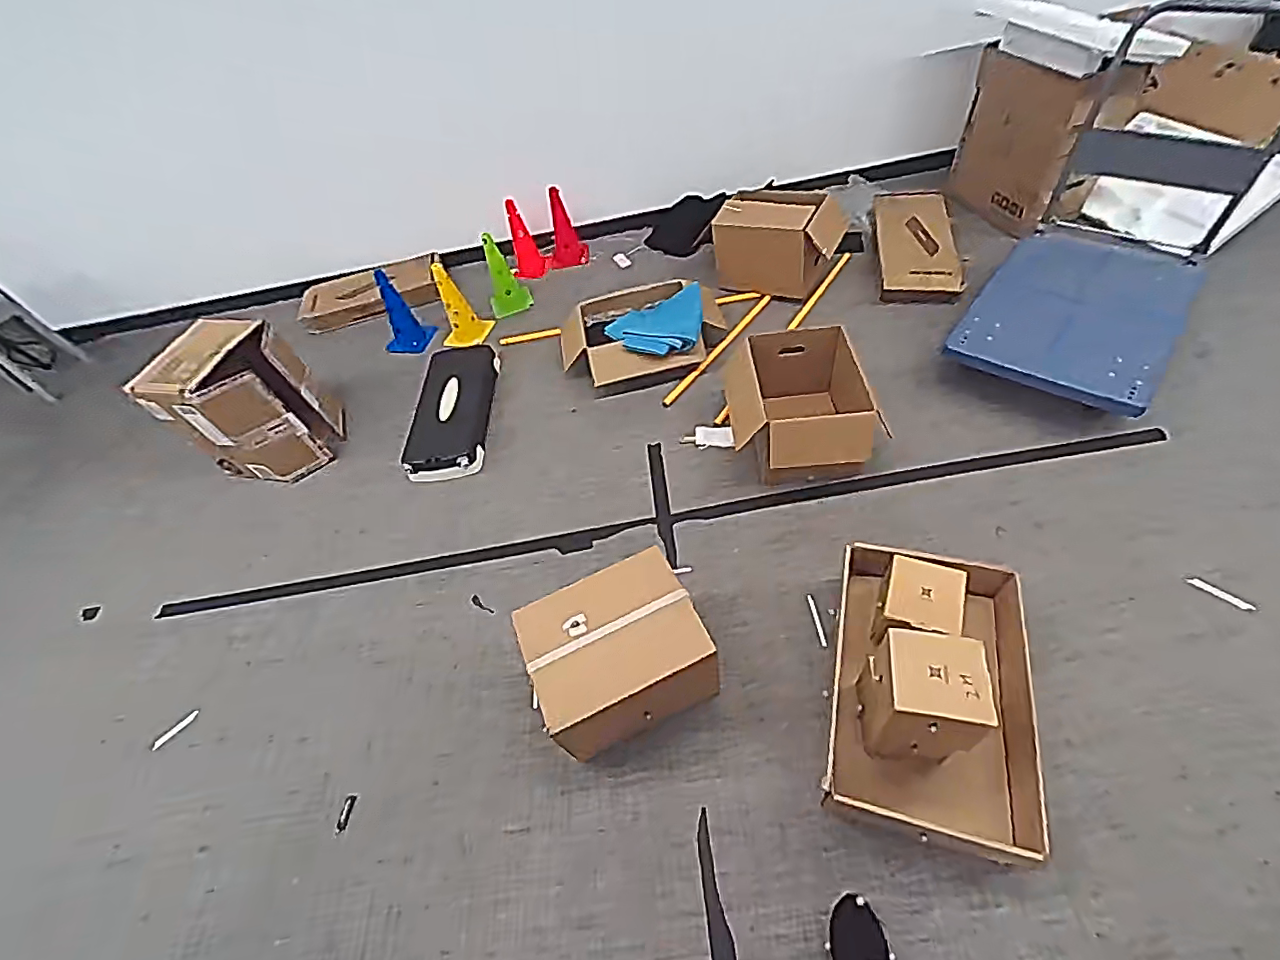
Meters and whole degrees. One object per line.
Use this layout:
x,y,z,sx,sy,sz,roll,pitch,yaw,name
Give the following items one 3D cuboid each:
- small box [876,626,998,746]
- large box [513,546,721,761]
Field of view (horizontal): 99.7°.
0.578,0.415,1.083,0.179,0.176,0.168,5,52,14,small box
-0.046,0.441,1.367,0.408,0.320,0.320,-25,52,-8,large box
